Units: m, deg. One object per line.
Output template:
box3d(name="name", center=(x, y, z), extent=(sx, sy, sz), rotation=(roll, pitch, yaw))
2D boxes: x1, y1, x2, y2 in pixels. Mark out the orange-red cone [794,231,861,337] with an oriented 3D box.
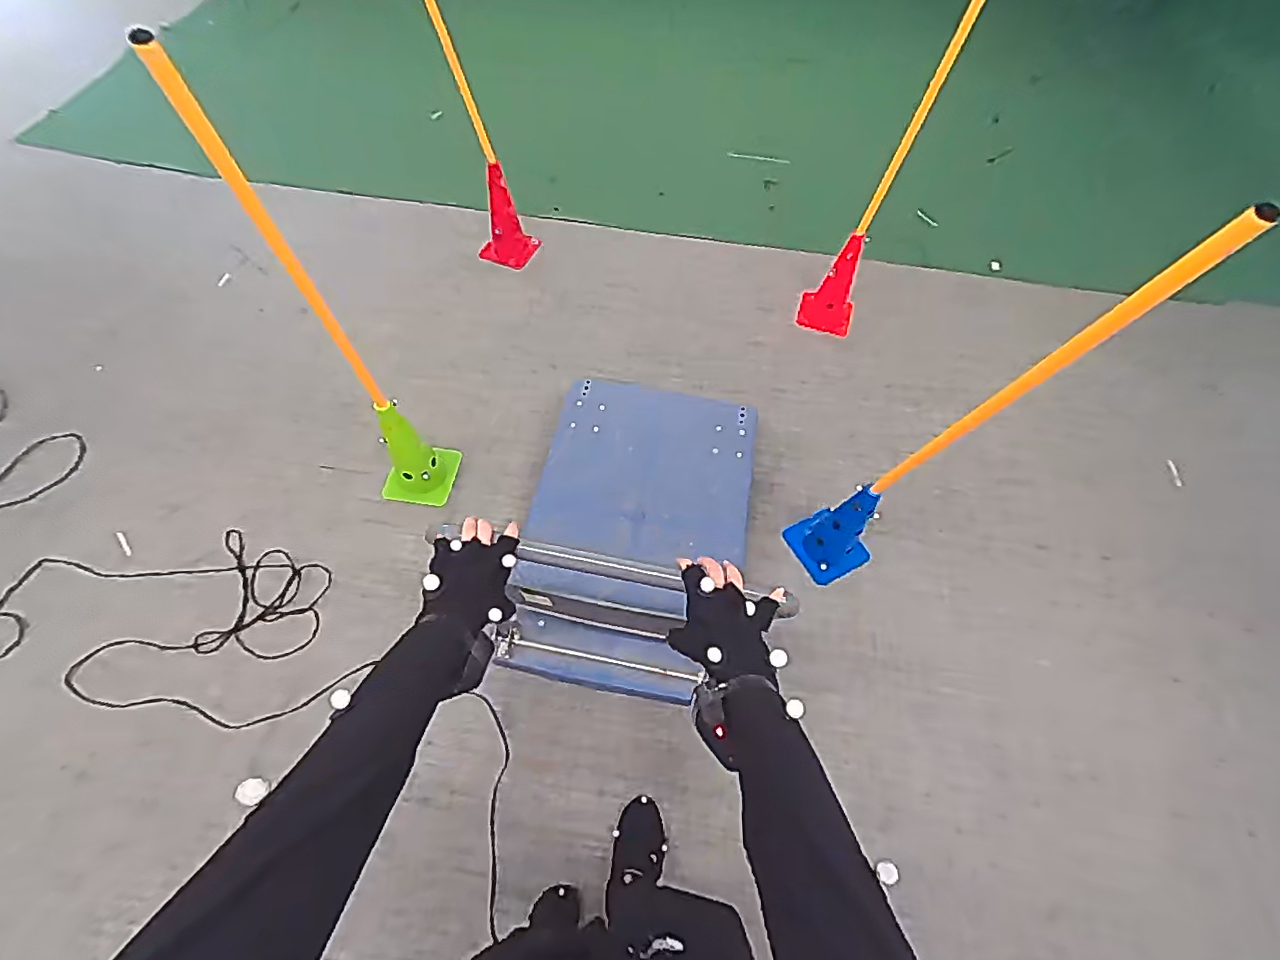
box3d(name="orange-red cone", center=(0.715, -0.727, 1.948), extent=(0.198, 0.360, 0.199), rotation=(18, 62, 8))
